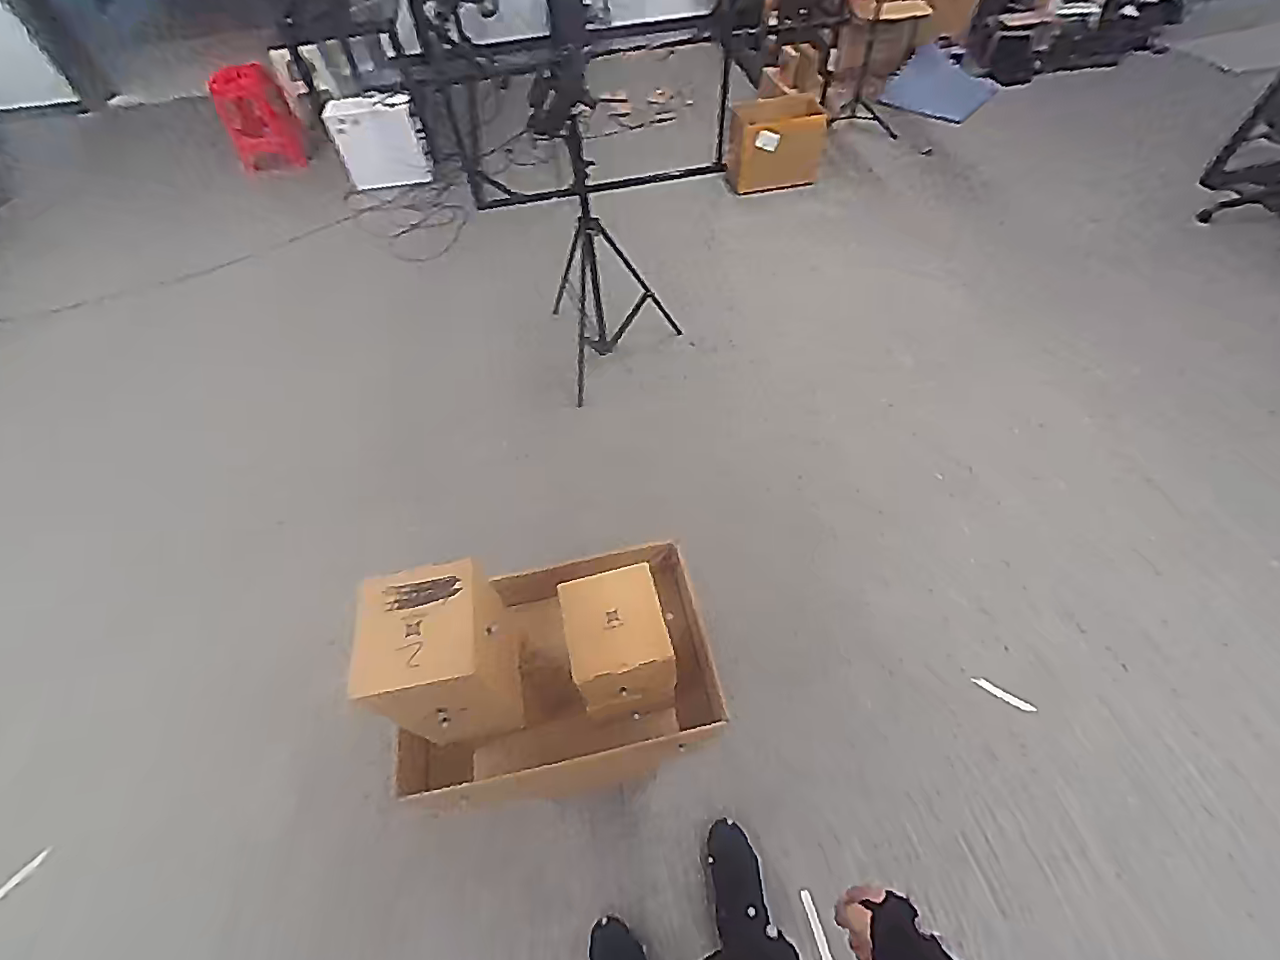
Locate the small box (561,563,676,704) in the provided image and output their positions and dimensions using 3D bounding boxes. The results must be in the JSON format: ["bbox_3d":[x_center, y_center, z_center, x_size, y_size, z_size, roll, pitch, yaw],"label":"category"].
[{"bbox_3d":[-0.038,0.278,0.967,0.168,0.176,0.179,-14,56,-5],"label":"small box"}]

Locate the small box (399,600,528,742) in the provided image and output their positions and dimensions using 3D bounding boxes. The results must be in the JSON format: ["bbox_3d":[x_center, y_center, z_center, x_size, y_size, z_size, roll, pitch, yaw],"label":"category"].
[{"bbox_3d":[-0.298,0.336,0.946,0.168,0.176,0.179,-11,54,-2],"label":"small box"}]
